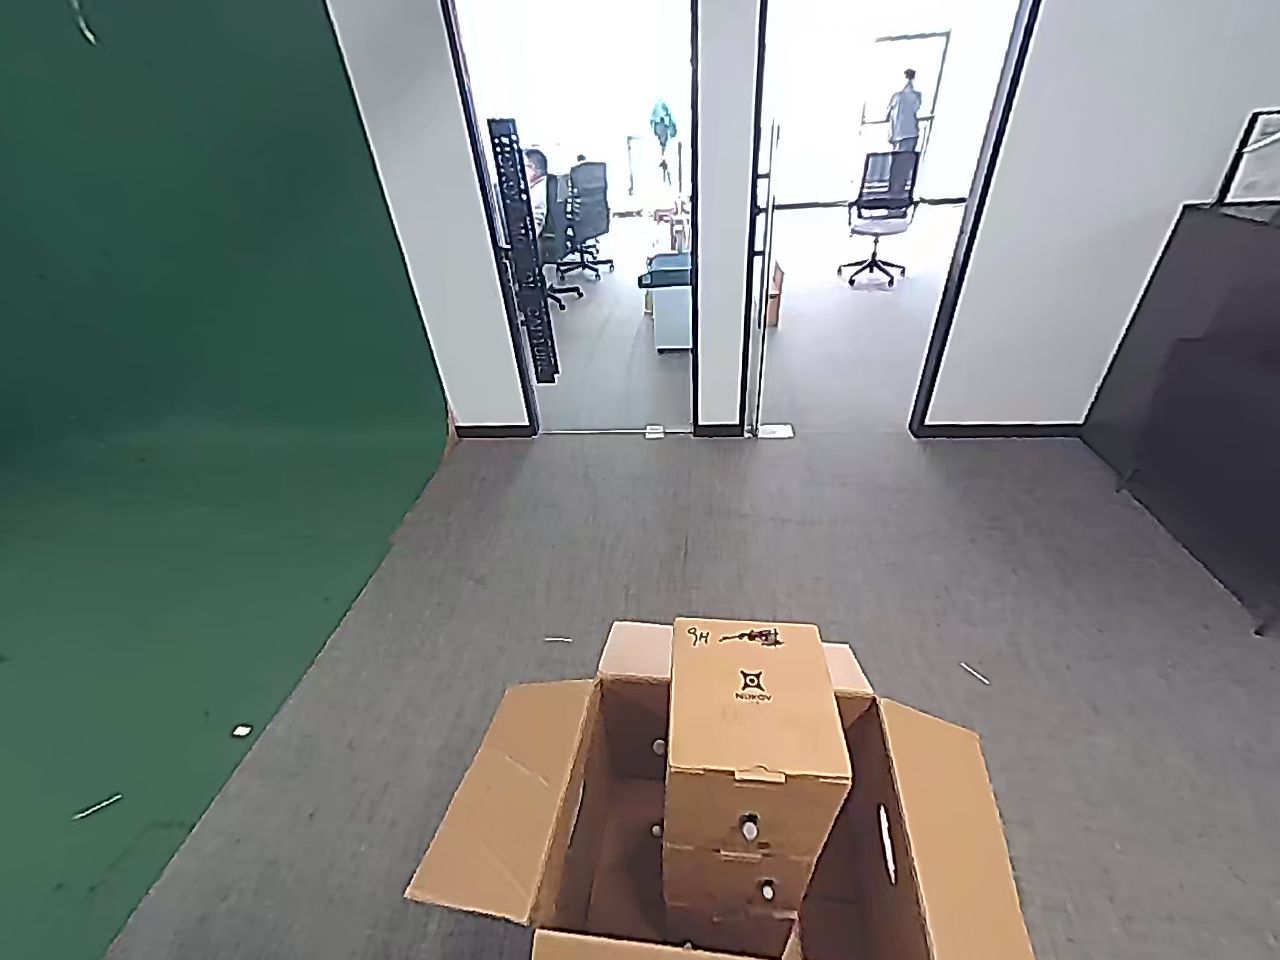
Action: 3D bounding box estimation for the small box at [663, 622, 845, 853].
[{"bbox_3d":[0.112,0.284,0.601,0.168,0.176,0.179,3,36,4],"label":"small box"}]
